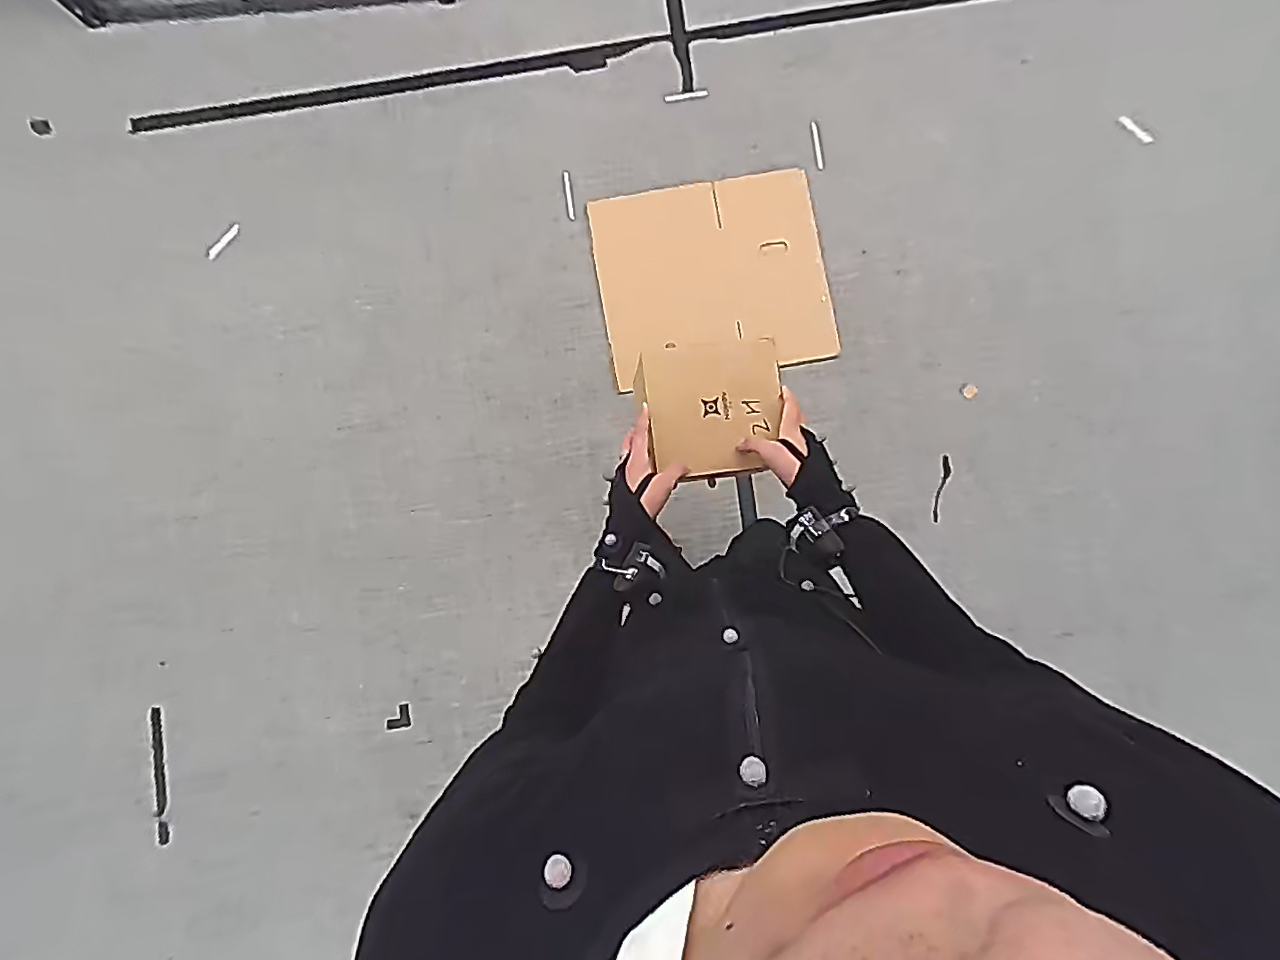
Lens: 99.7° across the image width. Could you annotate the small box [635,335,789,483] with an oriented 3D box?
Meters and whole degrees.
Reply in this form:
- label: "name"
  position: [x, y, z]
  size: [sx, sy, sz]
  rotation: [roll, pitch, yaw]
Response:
- label: "small box"
  position: [0.088, -0.089, 0.756]
  size: [0.179, 0.176, 0.168]
  rotation: [-7, 87, -5]
